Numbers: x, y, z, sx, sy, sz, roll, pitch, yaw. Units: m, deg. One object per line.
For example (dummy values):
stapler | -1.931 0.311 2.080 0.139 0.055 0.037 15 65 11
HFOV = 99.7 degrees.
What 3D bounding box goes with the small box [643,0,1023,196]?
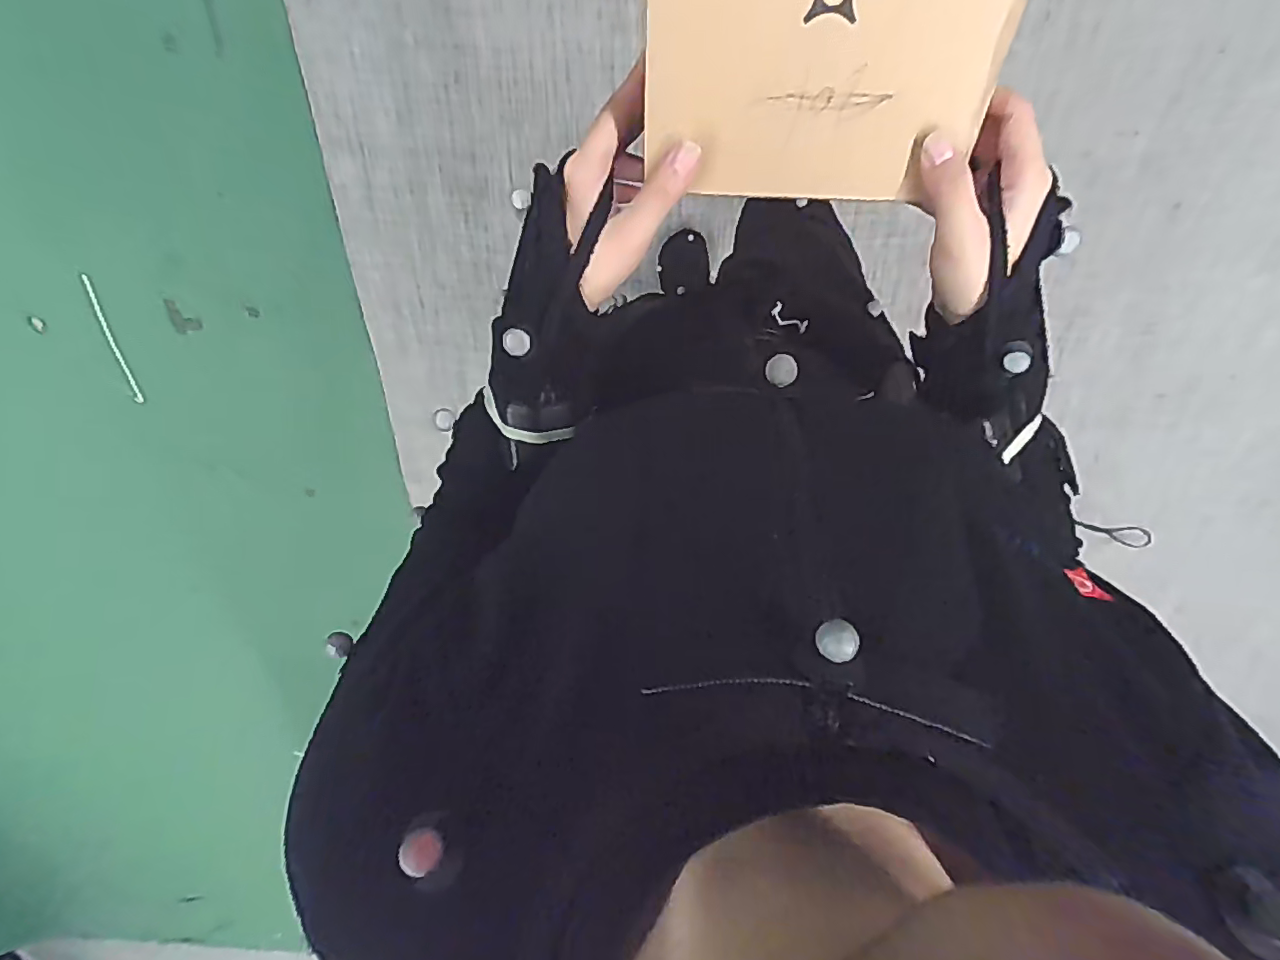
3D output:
small box | 0.089 -0.272 0.292 0.168 0.176 0.179 4 131 2
